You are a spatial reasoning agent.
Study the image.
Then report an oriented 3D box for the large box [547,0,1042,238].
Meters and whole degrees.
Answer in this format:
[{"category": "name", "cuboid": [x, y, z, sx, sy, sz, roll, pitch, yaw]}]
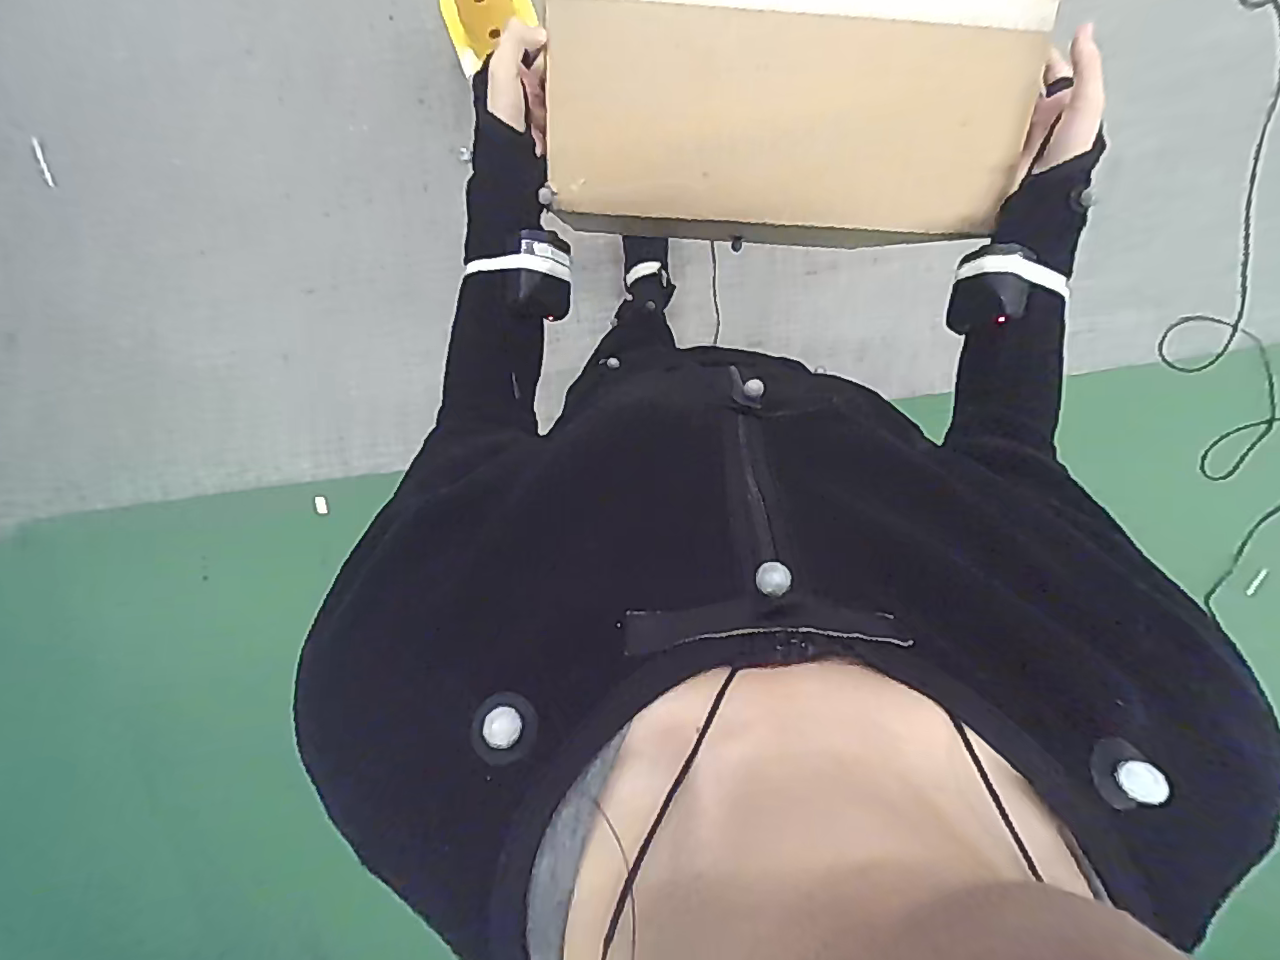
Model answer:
[{"category": "large box", "cuboid": [0.122, -0.433, 0.572, 0.408, 0.320, 0.320, 2, 111, -2]}]
